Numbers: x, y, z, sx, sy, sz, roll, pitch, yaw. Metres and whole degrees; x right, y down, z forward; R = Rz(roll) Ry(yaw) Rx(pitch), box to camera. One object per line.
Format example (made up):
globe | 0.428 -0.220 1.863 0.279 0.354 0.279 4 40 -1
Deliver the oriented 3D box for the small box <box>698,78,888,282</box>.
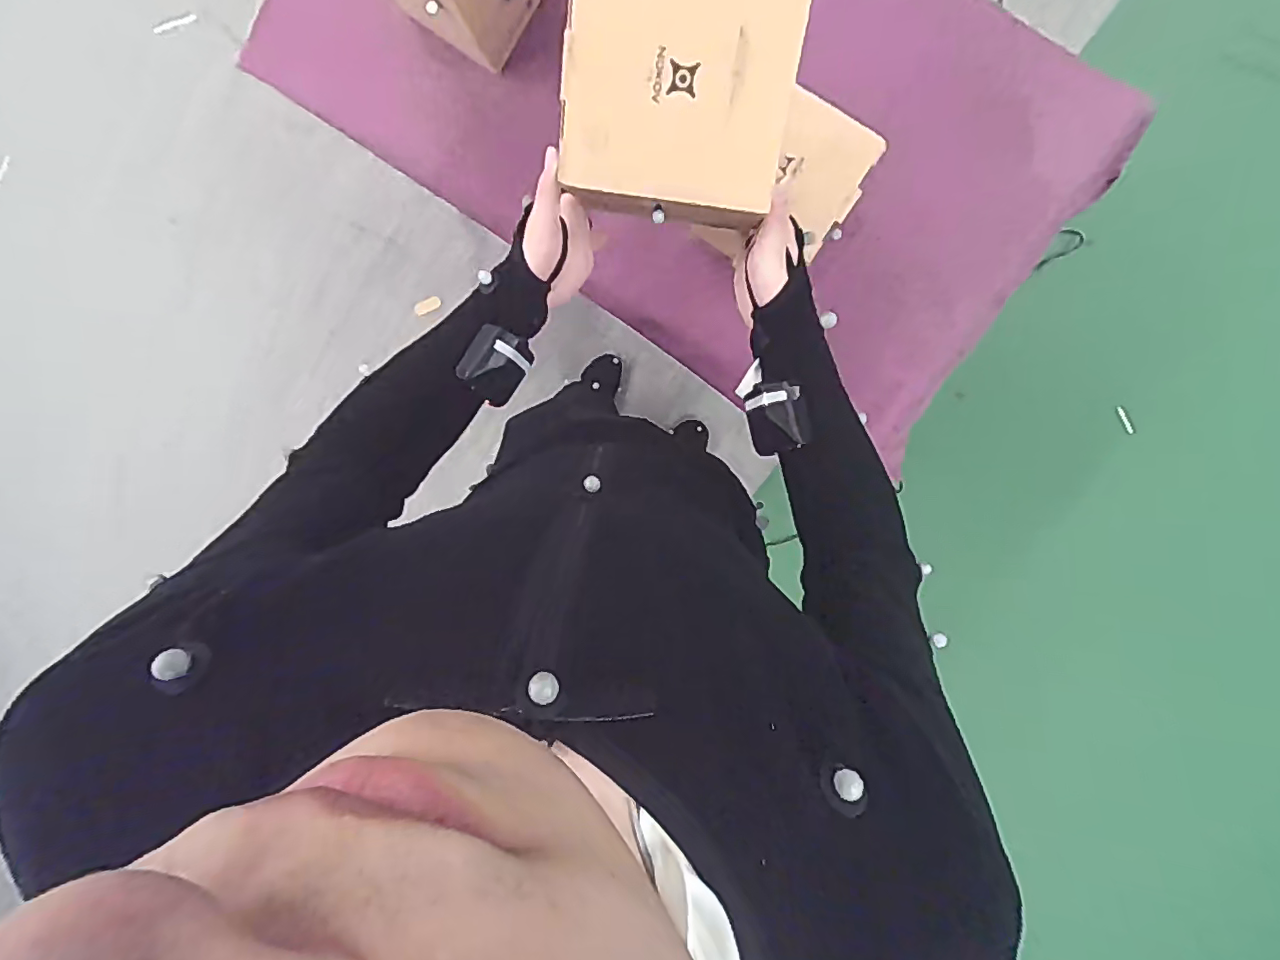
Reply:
small box | 0.193 -0.393 0.741 0.179 0.176 0.168 34 99 1

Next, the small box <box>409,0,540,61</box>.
small box | -0.245 -0.735 0.746 0.179 0.176 0.168 36 99 1

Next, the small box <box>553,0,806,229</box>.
small box | 0.032 -0.330 0.487 0.179 0.176 0.168 9 111 2
